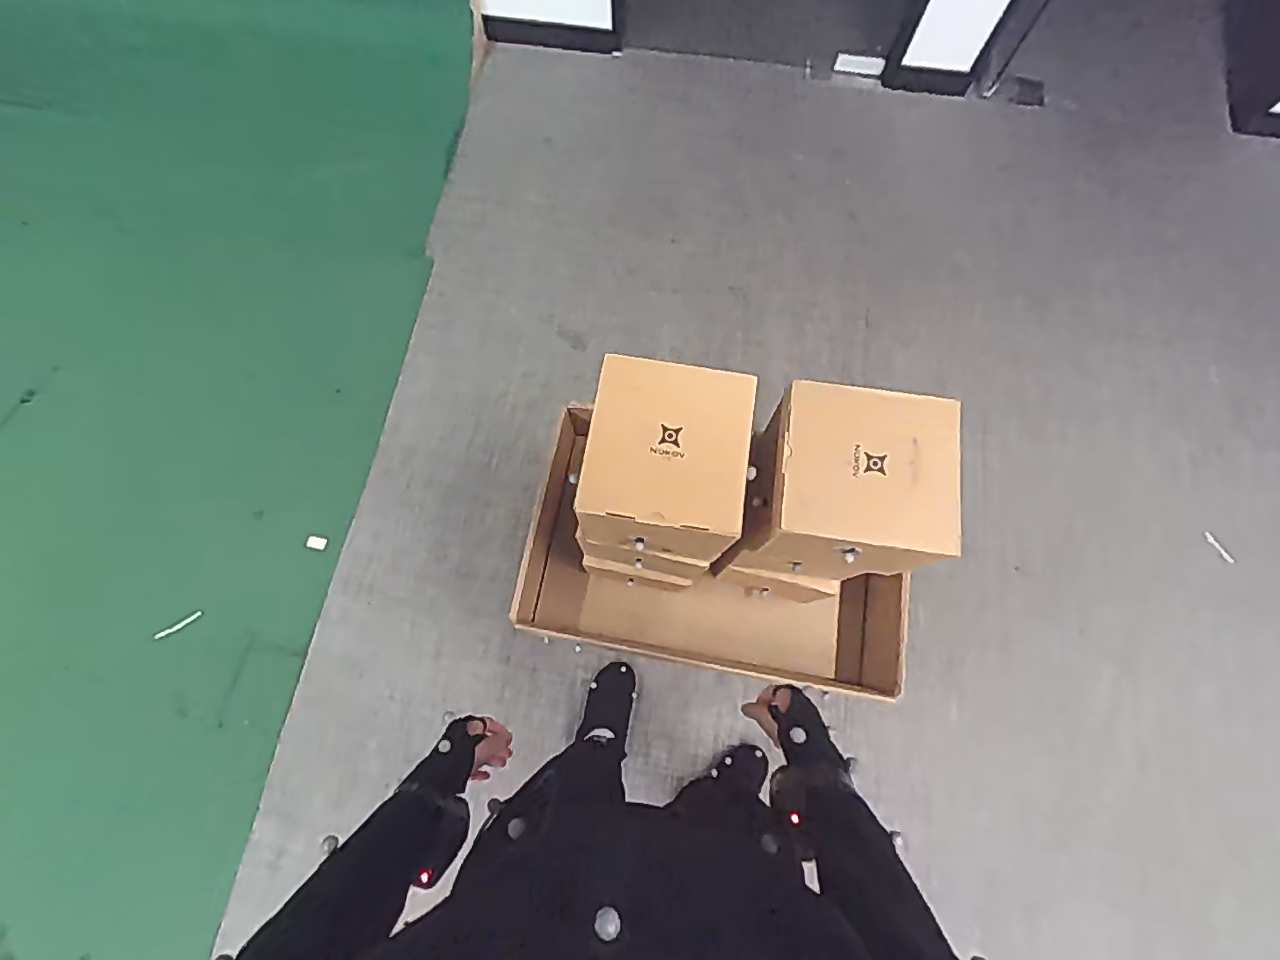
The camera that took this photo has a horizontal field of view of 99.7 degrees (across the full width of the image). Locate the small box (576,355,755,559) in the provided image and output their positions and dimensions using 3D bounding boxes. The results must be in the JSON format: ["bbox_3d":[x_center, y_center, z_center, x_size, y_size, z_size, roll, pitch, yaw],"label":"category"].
[{"bbox_3d":[0.027,-0.017,0.625,0.168,0.176,0.179,8,74,2],"label":"small box"}]
